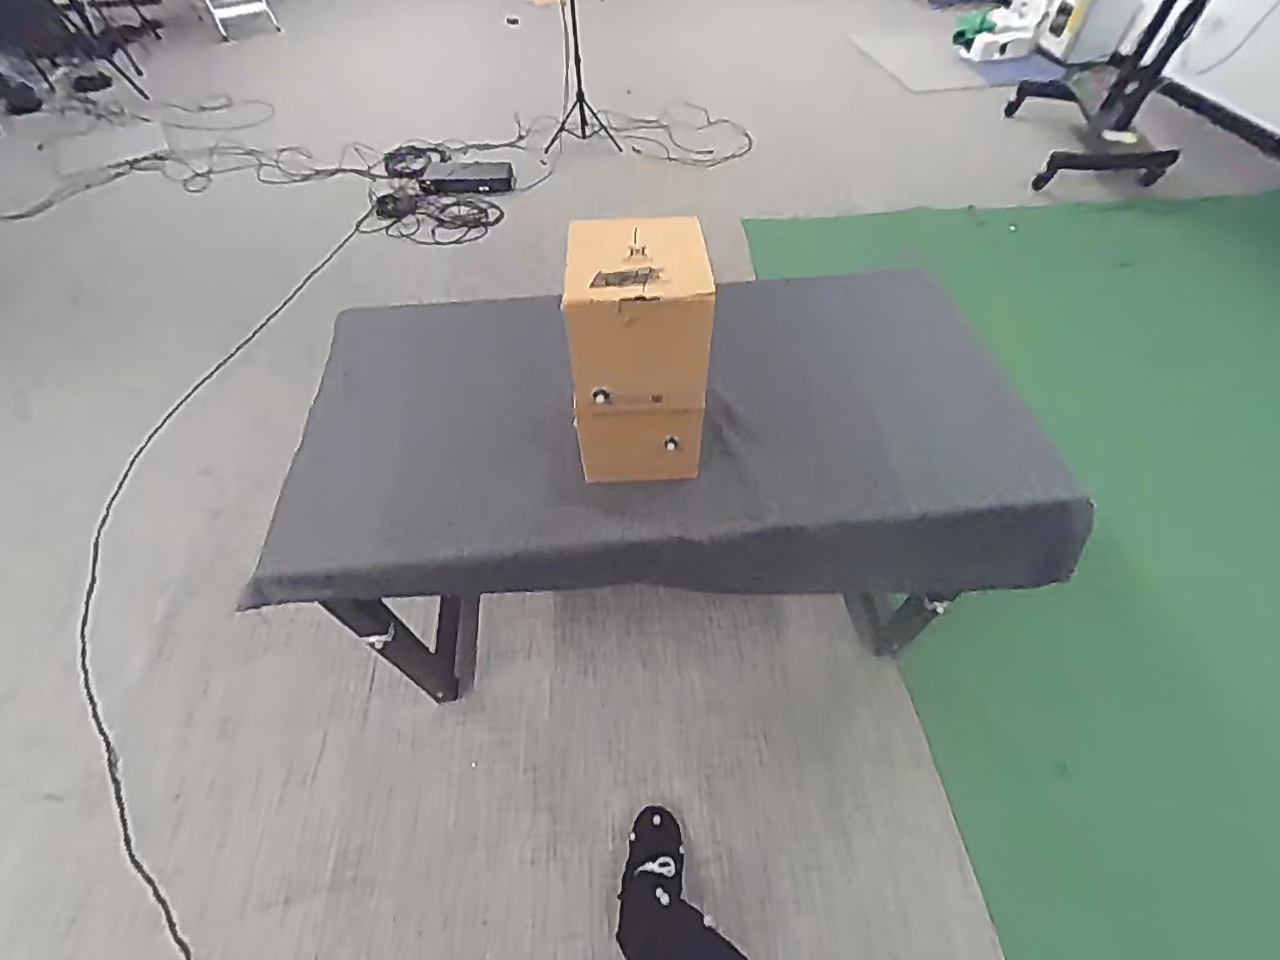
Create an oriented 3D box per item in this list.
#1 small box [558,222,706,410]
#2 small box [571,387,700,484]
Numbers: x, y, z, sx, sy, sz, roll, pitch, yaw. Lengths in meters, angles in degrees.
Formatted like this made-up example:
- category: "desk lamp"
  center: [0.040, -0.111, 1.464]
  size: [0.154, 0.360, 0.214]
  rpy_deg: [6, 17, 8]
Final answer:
- category: "small box"
  center: [-0.012, -0.204, 0.700]
  size: [0.168, 0.176, 0.179]
  rpy_deg: [-5, 53, -3]
- category: "small box"
  center: [-0.008, -0.108, 0.833]
  size: [0.179, 0.176, 0.168]
  rpy_deg: [-4, 52, 0]
